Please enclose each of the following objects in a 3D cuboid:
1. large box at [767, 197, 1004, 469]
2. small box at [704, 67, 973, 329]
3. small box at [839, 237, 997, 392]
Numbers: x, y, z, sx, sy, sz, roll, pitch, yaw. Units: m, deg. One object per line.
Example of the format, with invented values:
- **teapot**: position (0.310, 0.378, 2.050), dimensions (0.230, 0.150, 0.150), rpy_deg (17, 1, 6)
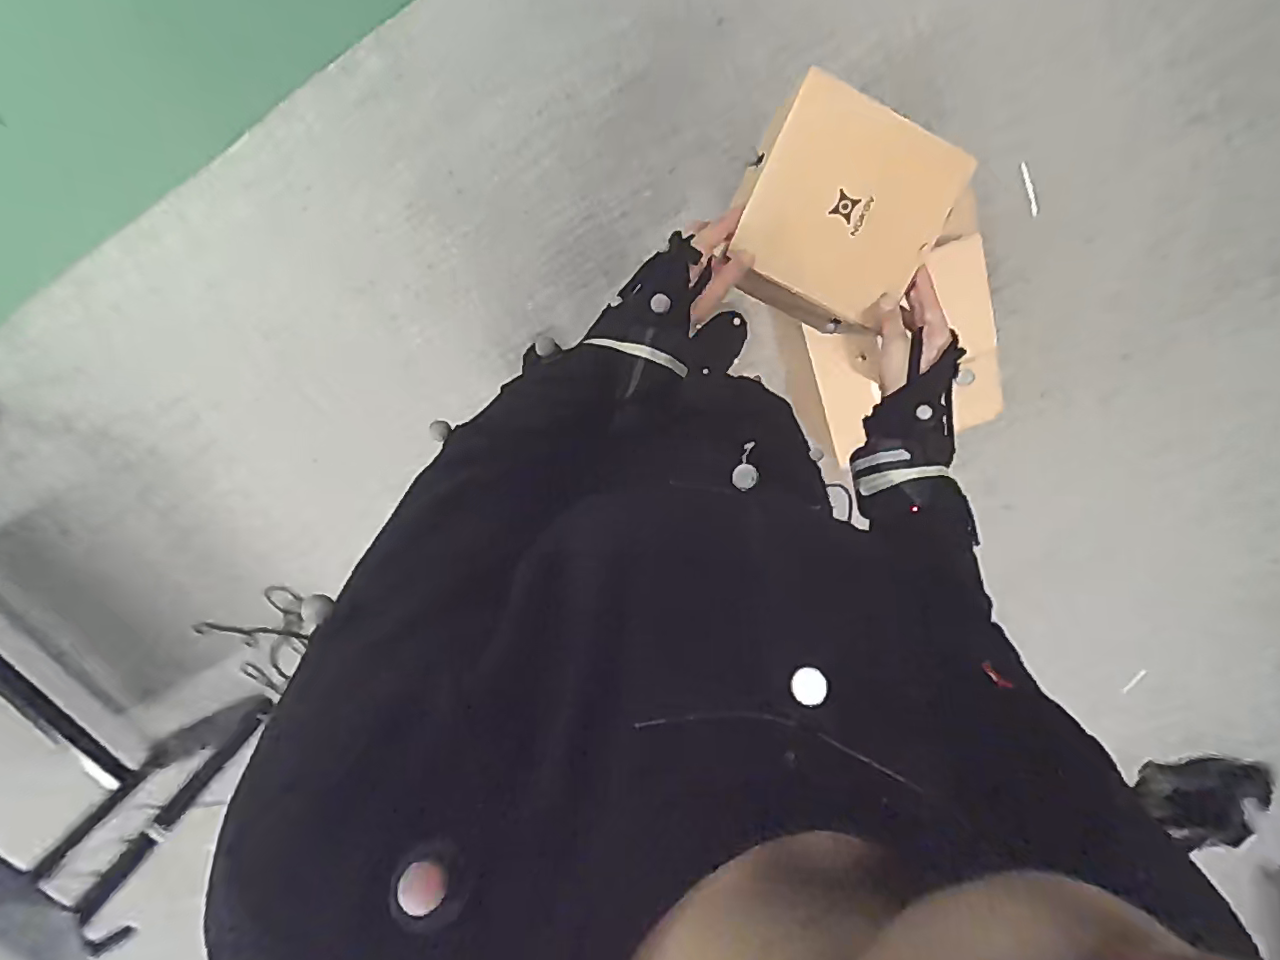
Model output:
- **large box**: position (0.468, -0.297, 1.102), dimensions (0.320, 0.320, 0.408), rpy_deg (-19, 110, 10)
- **small box**: position (0.181, -0.266, 0.559), dimensions (0.179, 0.176, 0.168), rpy_deg (22, 105, -8)
- **small box**: position (0.422, -0.264, 0.856), dimensions (0.168, 0.176, 0.179), rpy_deg (-20, 108, 9)
